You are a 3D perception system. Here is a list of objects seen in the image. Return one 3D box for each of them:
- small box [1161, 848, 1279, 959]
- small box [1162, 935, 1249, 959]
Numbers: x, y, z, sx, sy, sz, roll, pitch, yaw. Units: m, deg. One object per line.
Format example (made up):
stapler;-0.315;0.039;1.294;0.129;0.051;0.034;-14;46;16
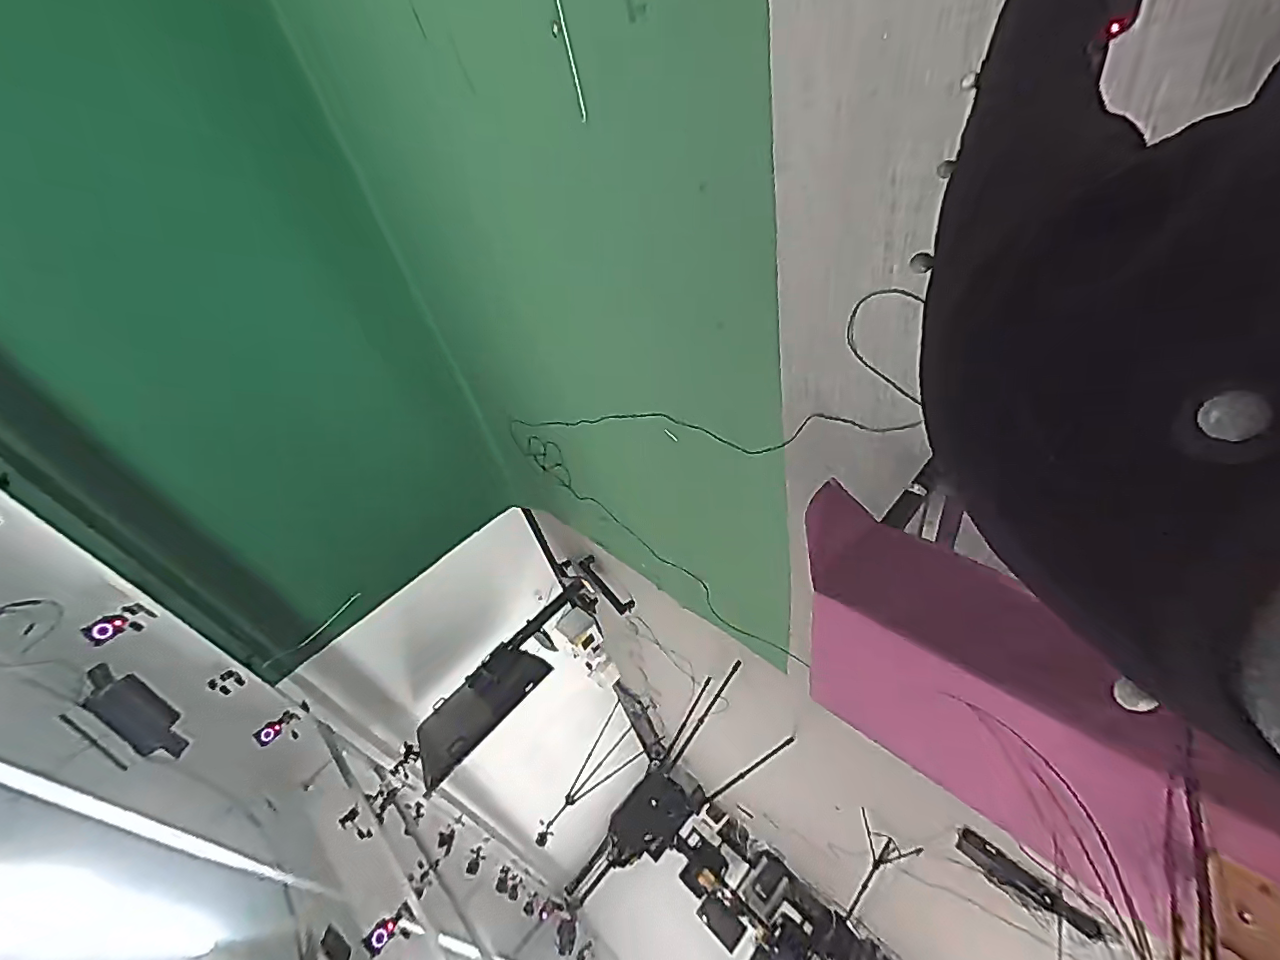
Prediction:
small box;1.042;0.778;0.922;0.168;0.176;0.179;24;145;44
small box;0.924;0.855;0.835;0.179;0.176;0.168;23;144;44
